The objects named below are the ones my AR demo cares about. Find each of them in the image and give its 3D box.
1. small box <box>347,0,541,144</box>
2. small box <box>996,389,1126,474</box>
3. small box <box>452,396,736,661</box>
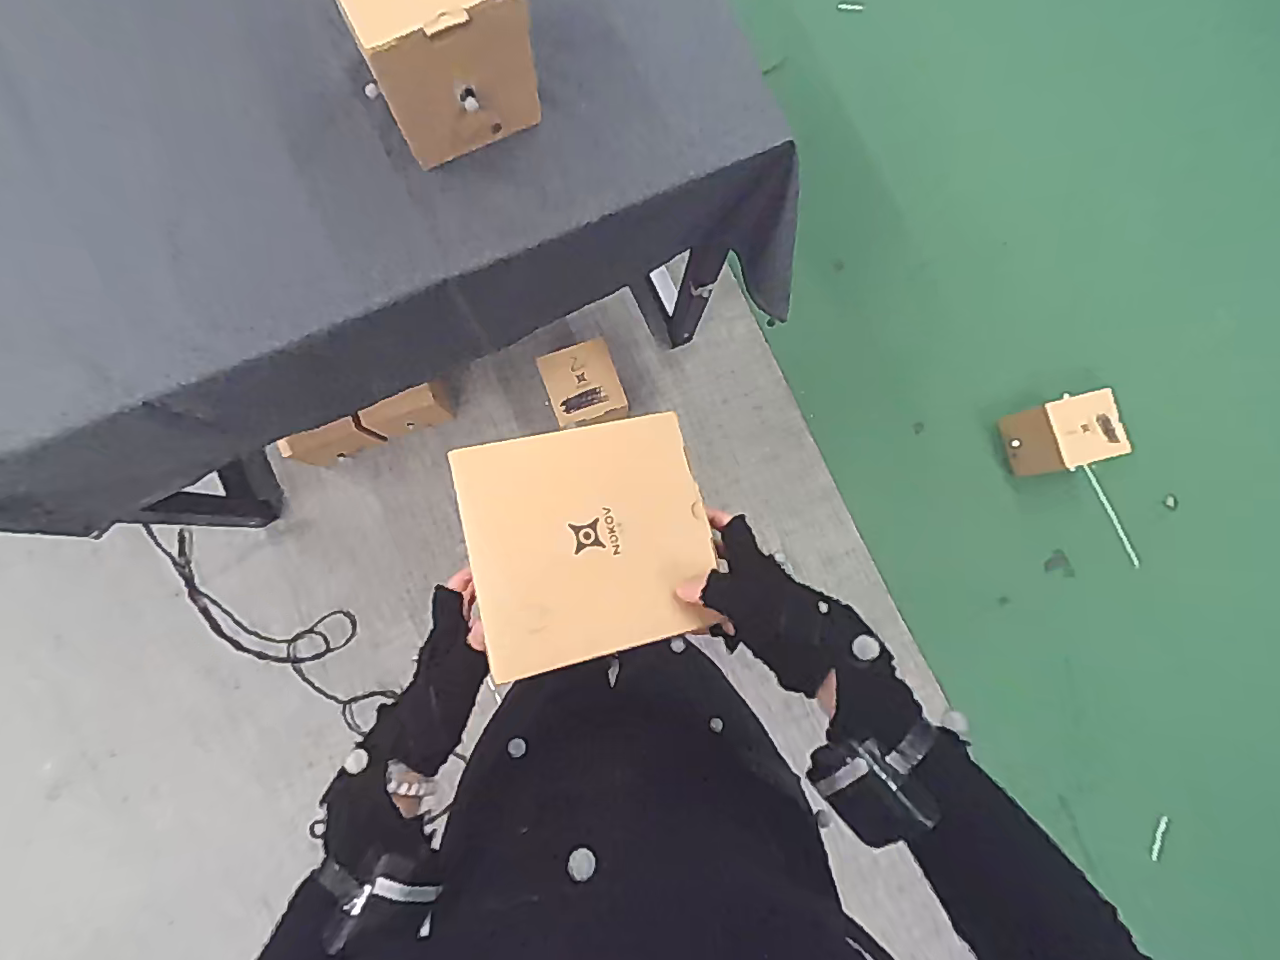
[{"bbox_3d":[-0.223,-0.513,0.598,0.168,0.176,0.179,-27,87,-7],"label":"small box"},{"bbox_3d":[1.066,-0.119,1.383,0.179,0.176,0.168,-14,84,-4],"label":"small box"},{"bbox_3d":[-0.047,0.048,0.458,0.179,0.176,0.168,-11,77,-15],"label":"small box"}]
